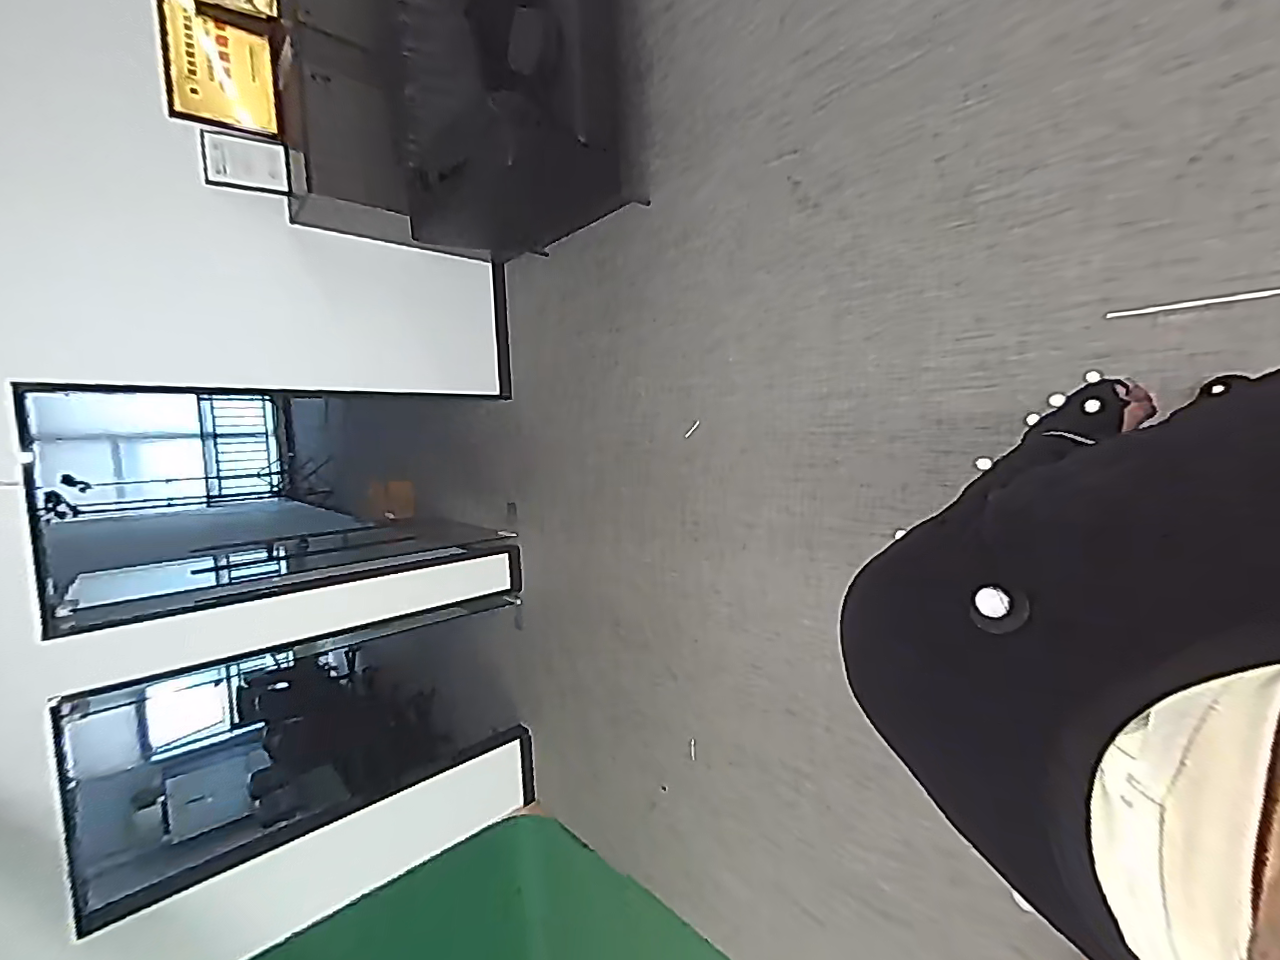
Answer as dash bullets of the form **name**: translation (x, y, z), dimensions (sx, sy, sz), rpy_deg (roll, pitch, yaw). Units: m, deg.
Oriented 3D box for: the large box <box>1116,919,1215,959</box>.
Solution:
- **large box**: translation (1.219, 1.240, 1.092), dimensions (0.408, 0.320, 0.320), rpy_deg (6, 98, 48)
